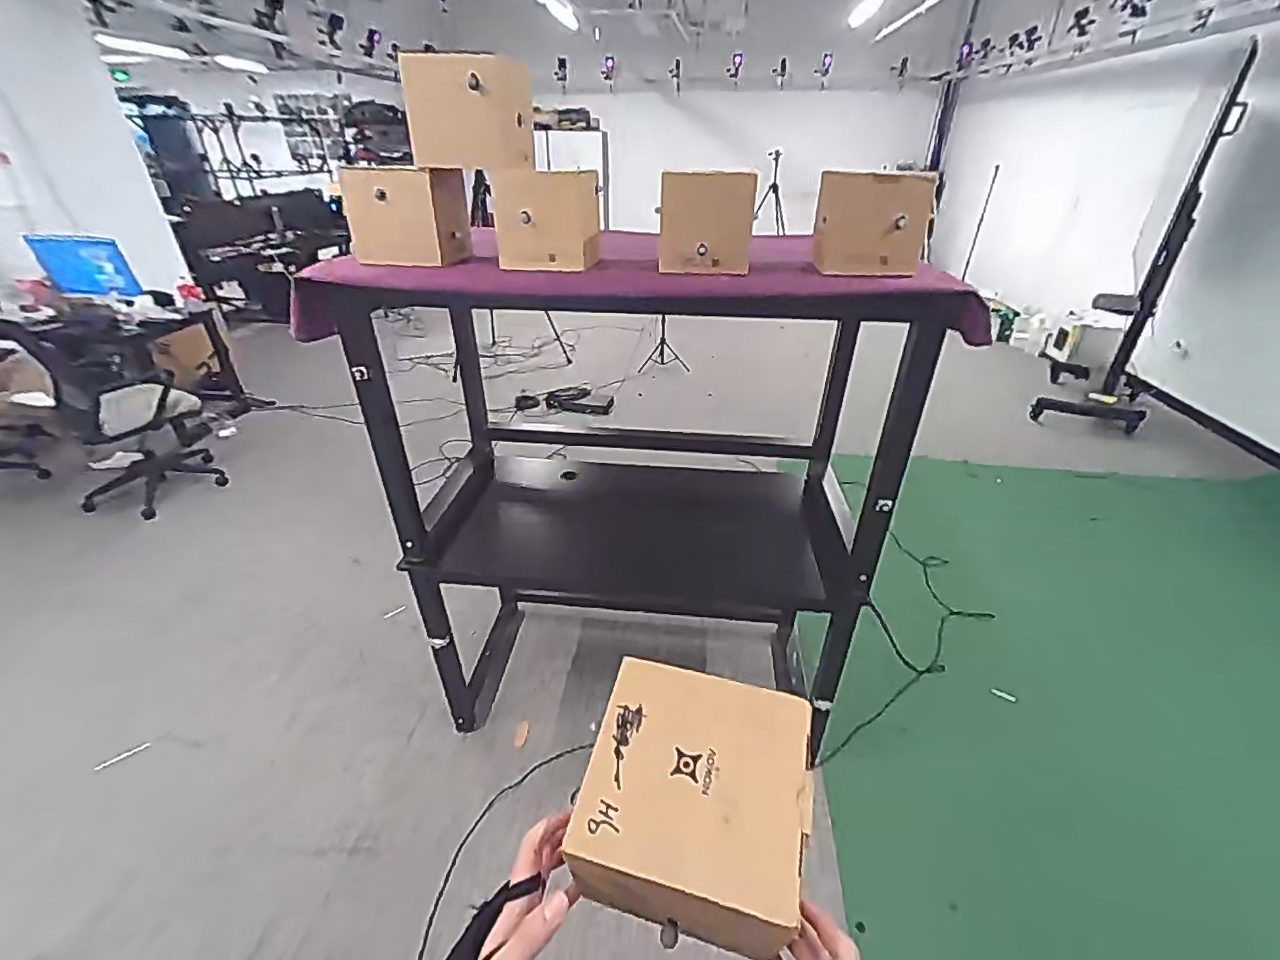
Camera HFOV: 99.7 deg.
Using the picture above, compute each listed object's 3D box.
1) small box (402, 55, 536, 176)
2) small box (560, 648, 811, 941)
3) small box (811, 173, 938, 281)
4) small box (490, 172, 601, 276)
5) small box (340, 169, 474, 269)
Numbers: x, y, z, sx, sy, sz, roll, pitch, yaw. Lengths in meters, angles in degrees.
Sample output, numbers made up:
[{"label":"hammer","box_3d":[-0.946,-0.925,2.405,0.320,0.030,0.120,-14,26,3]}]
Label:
[{"label":"small box","box_3d":[-0.298,-0.654,0.985,0.179,0.176,0.168,5,30,6]},{"label":"small box","box_3d":[0.047,0.287,0.495,0.179,0.176,0.168,10,43,13]},{"label":"small box","box_3d":[0.426,-0.474,1.013,0.168,0.176,0.179,4,30,6]},{"label":"small box","box_3d":[-0.171,-0.497,1.048,0.168,0.176,0.179,3,30,6]},{"label":"small box","box_3d":[-0.451,-0.520,1.077,0.179,0.176,0.168,5,31,5]}]
